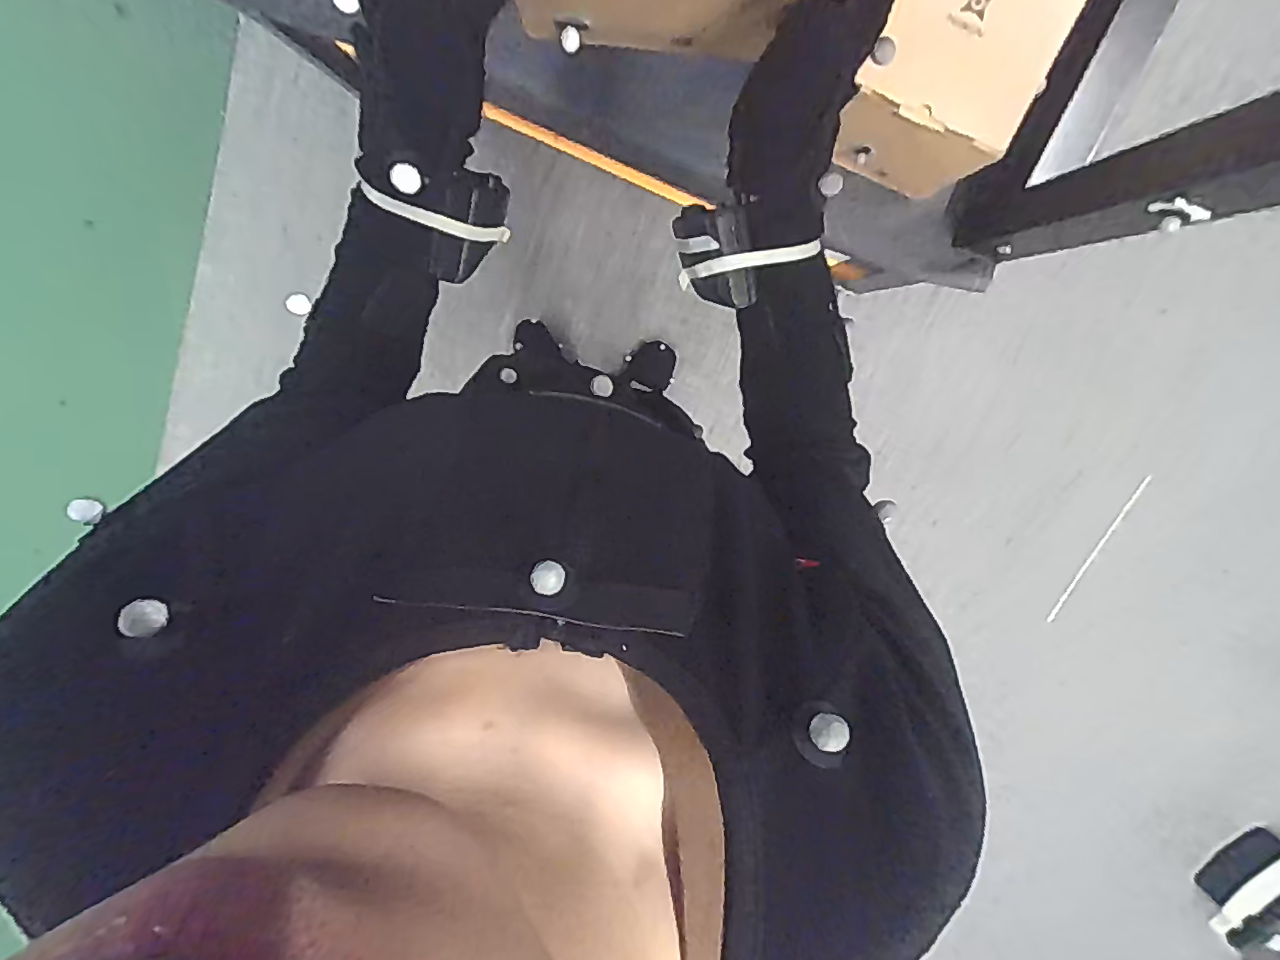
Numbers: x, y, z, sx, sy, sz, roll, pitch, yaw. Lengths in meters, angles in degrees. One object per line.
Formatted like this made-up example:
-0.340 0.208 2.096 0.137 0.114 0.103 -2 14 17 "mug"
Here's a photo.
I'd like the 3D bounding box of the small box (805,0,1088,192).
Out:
0.284 -0.417 0.527 0.168 0.176 0.179 22 105 -3 "small box"
